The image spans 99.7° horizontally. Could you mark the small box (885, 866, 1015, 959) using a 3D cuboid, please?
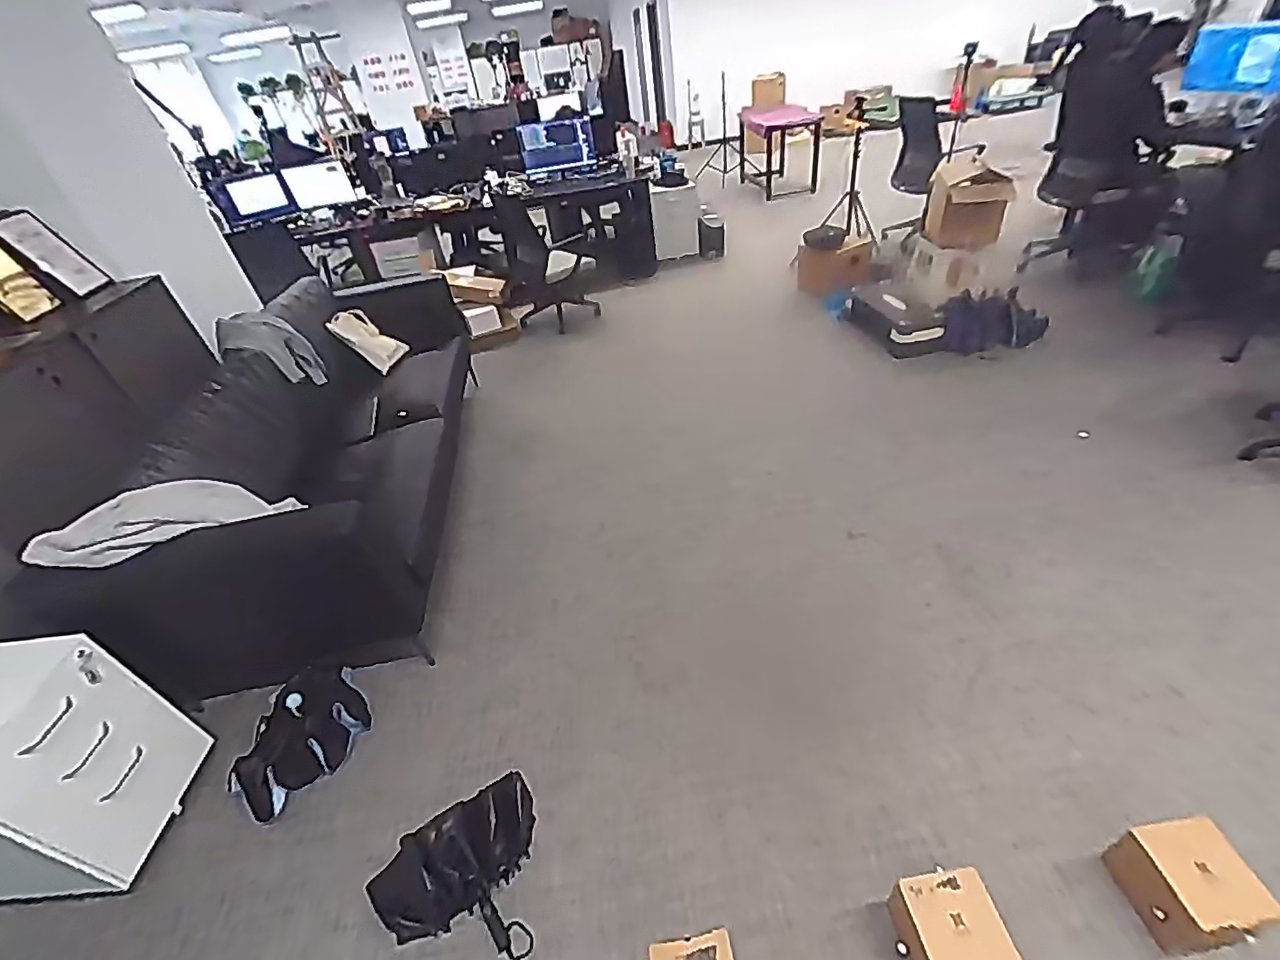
[{"bbox_3d":[0.629,0.934,1.113,0.168,0.176,0.179,-10,39,1],"label":"small box"}]

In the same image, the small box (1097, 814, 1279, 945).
[{"bbox_3d":[1.119,0.834,1.125,0.168,0.176,0.179,-10,37,0],"label":"small box"}]

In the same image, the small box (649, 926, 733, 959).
[{"bbox_3d":[0.118,1.044,1.089,0.168,0.176,0.179,-12,39,-1],"label":"small box"}]
